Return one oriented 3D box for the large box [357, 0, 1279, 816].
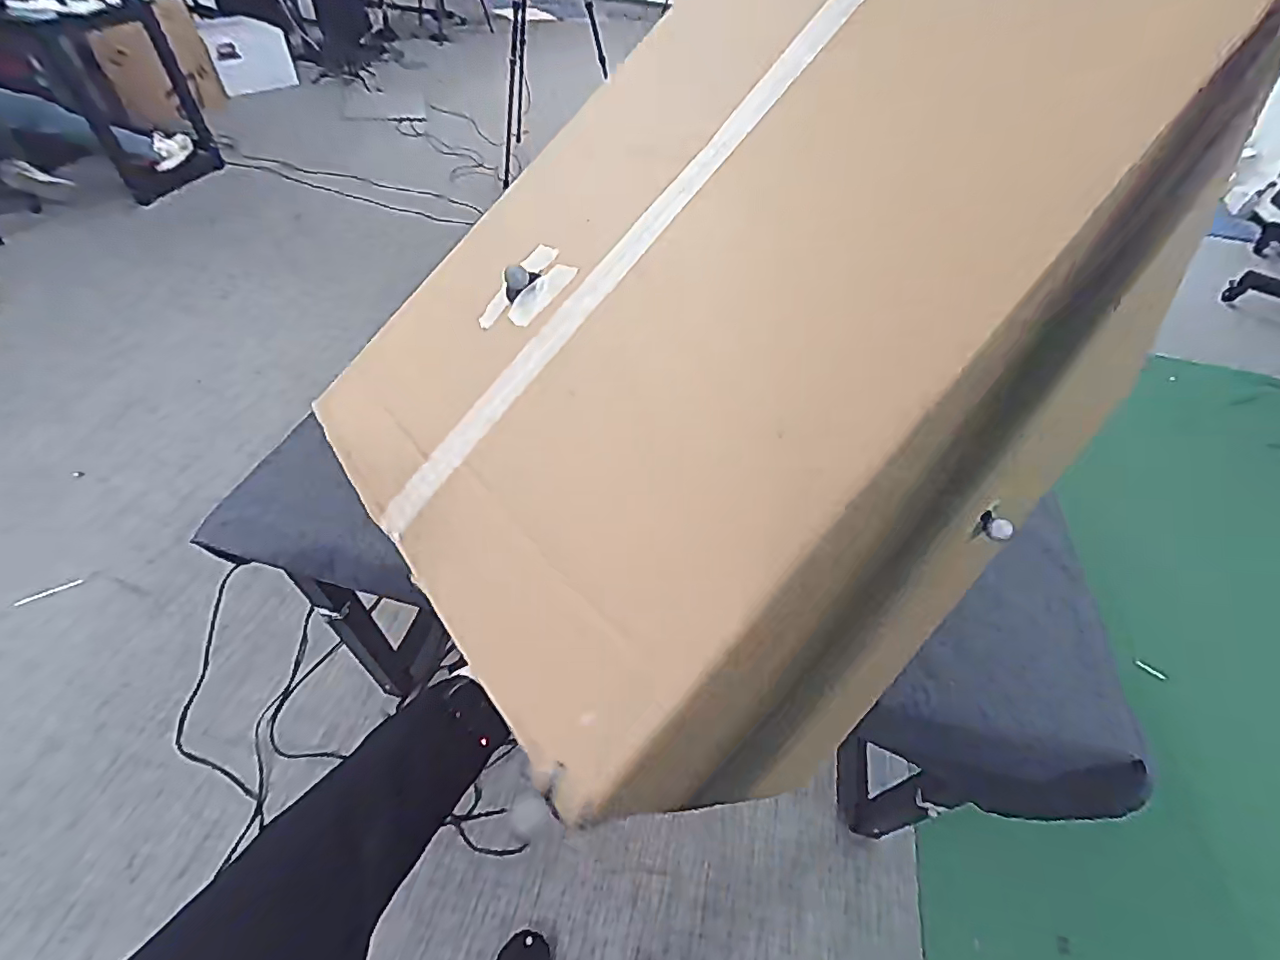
[{"bbox_3d":[0.095,-0.055,0.400,0.320,0.320,0.408,37,87,38],"label":"large box"}]
